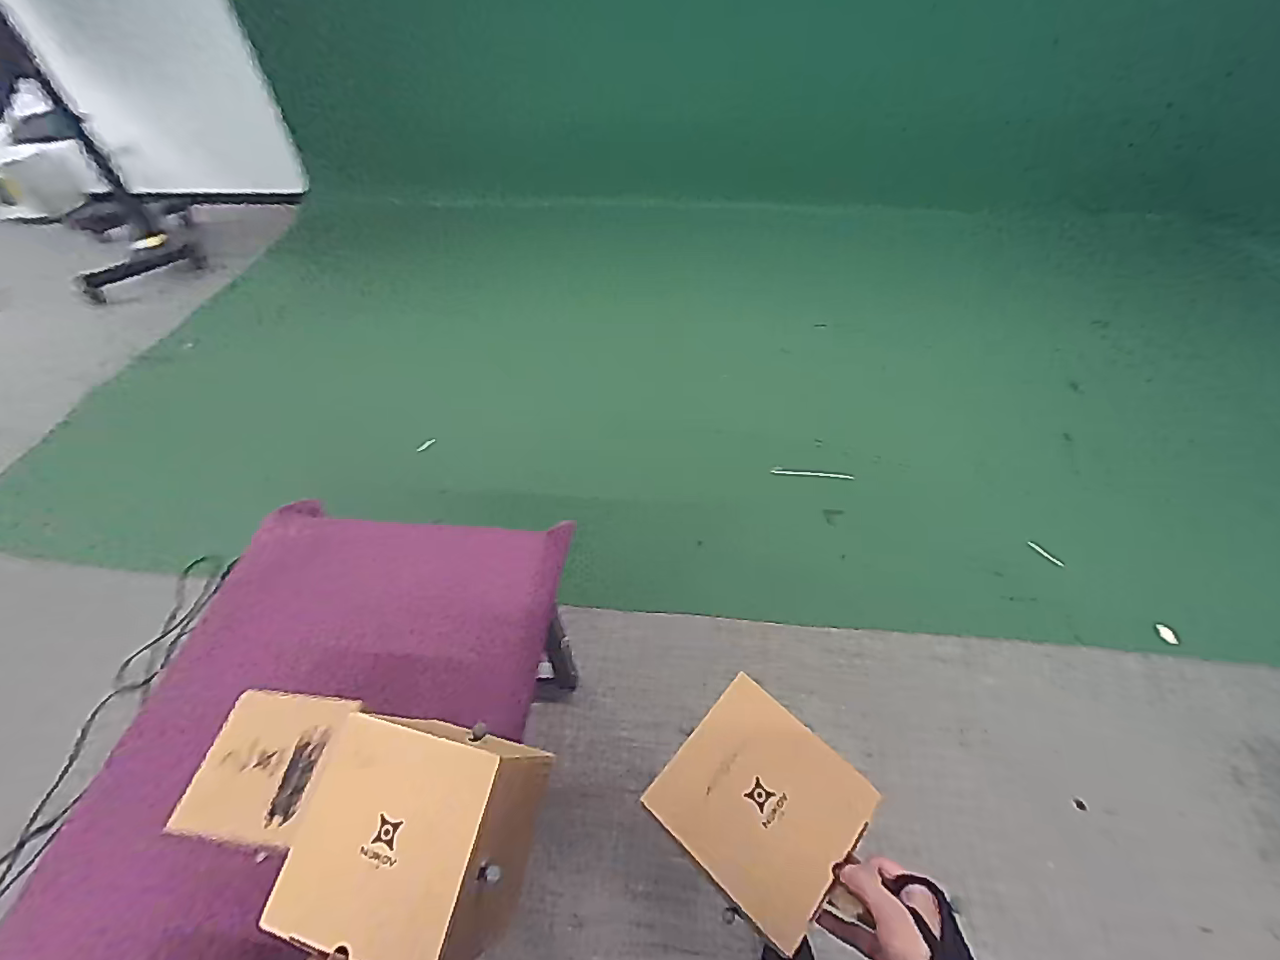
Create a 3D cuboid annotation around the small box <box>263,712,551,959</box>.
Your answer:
[{"bbox_3d":[-0.201,0.345,0.530,0.168,0.176,0.179,10,66,14],"label":"small box"}]

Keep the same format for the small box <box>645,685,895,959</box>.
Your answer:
[{"bbox_3d":[0.121,0.353,0.571,0.179,0.176,0.168,39,64,22],"label":"small box"}]
